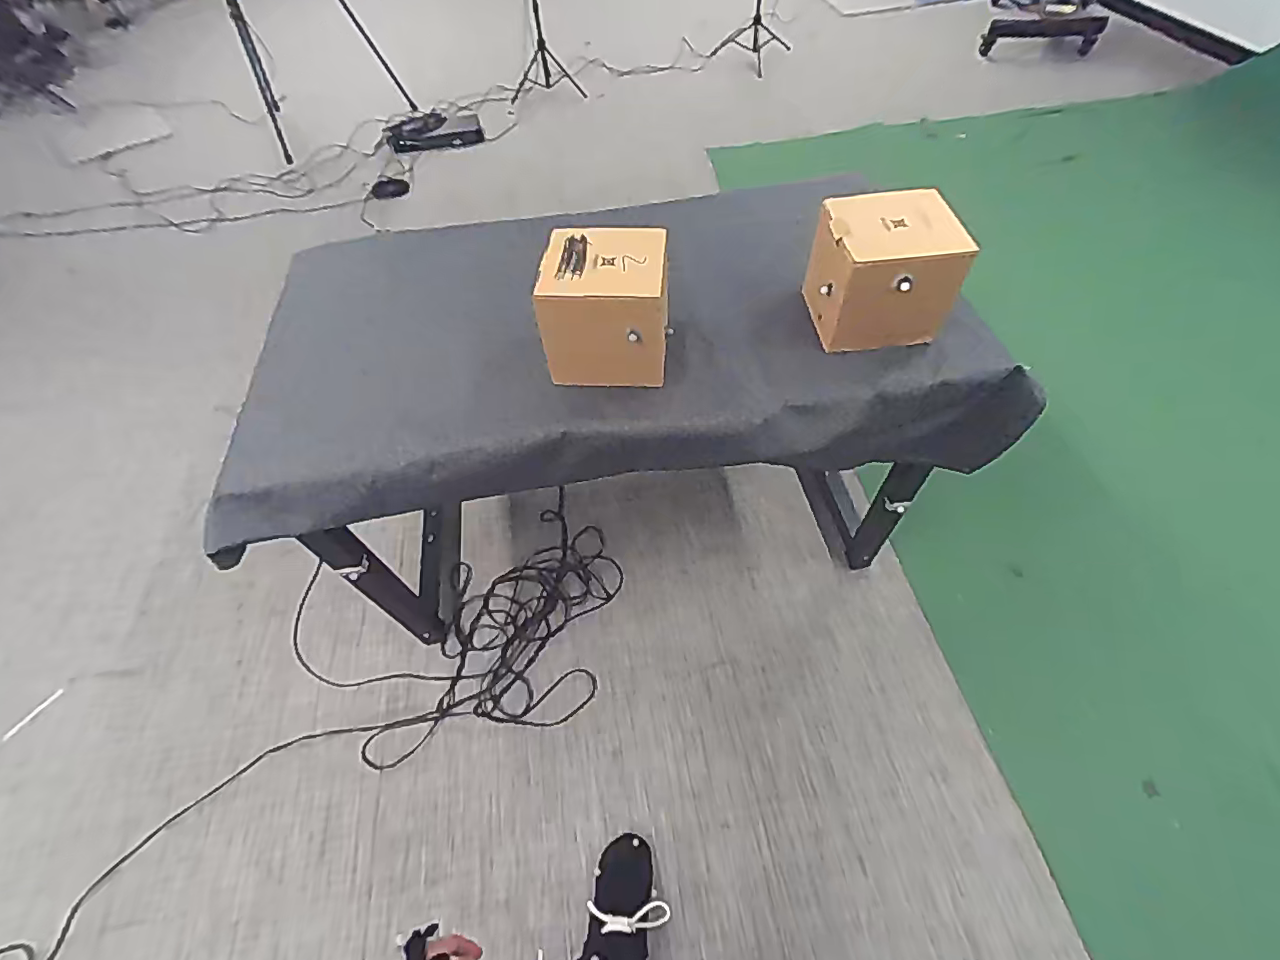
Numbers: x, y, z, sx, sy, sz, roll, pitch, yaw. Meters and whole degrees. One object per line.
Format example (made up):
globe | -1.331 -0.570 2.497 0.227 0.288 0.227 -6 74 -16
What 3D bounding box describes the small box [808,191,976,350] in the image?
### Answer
small box | 0.373 -0.321 0.846 0.179 0.176 0.168 -5 56 0
